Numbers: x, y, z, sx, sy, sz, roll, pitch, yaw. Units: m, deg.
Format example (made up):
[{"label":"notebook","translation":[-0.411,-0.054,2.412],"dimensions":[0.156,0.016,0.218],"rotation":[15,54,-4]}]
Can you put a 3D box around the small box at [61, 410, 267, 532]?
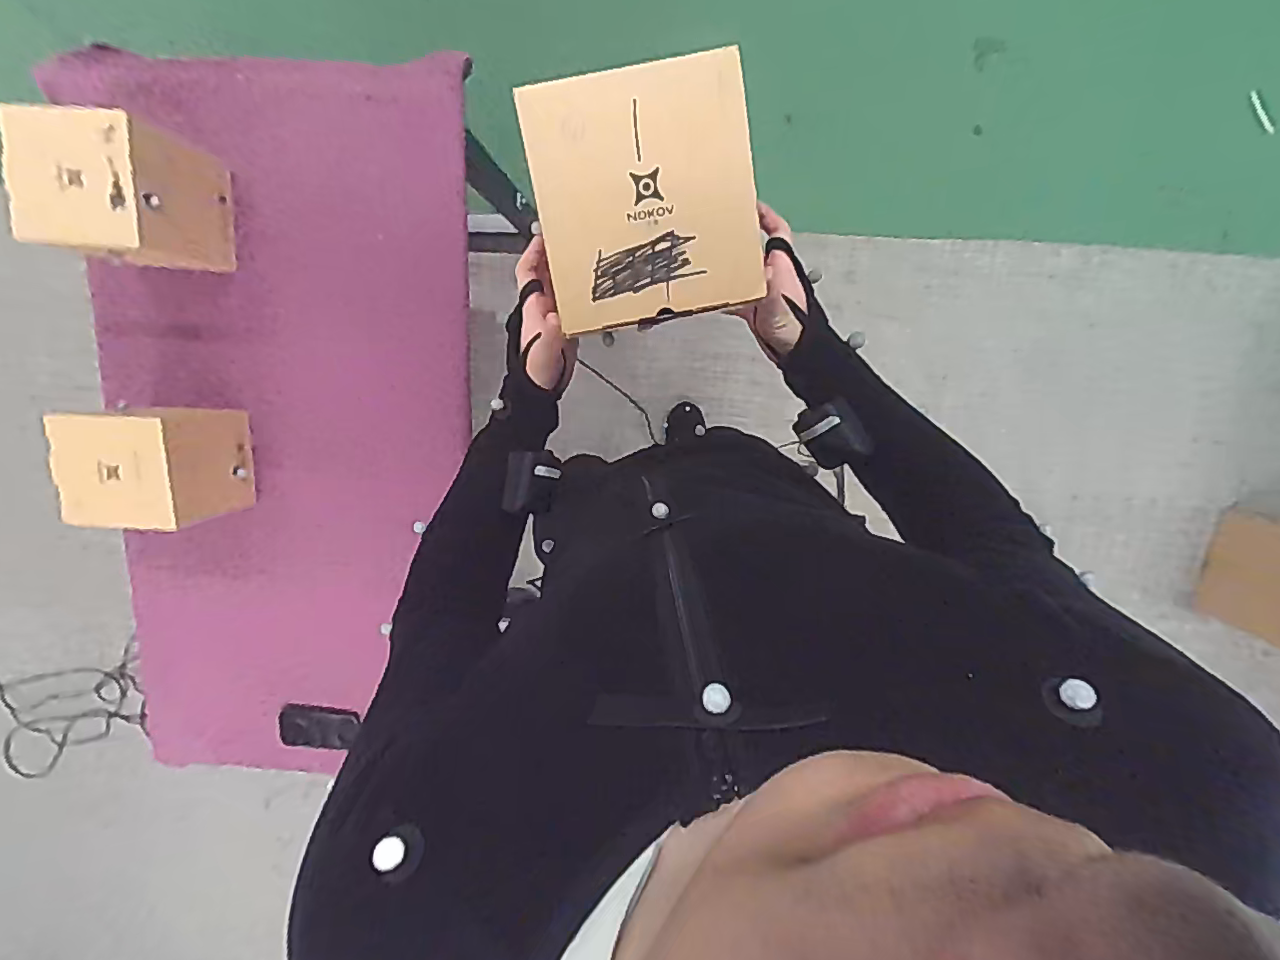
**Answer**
[{"label":"small box","translation":[-0.746,-0.022,0.867],"dimensions":[0.179,0.176,0.168],"rotation":[2,102,3]}]

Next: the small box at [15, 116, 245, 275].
[{"label":"small box","translation":[-0.728,-0.403,0.792],"dimensions":[0.179,0.176,0.168],"rotation":[4,102,4]}]

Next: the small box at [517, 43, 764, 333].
[{"label":"small box","translation":[0.004,-0.234,0.480],"dimensions":[0.168,0.176,0.179],"rotation":[-10,105,1]}]
